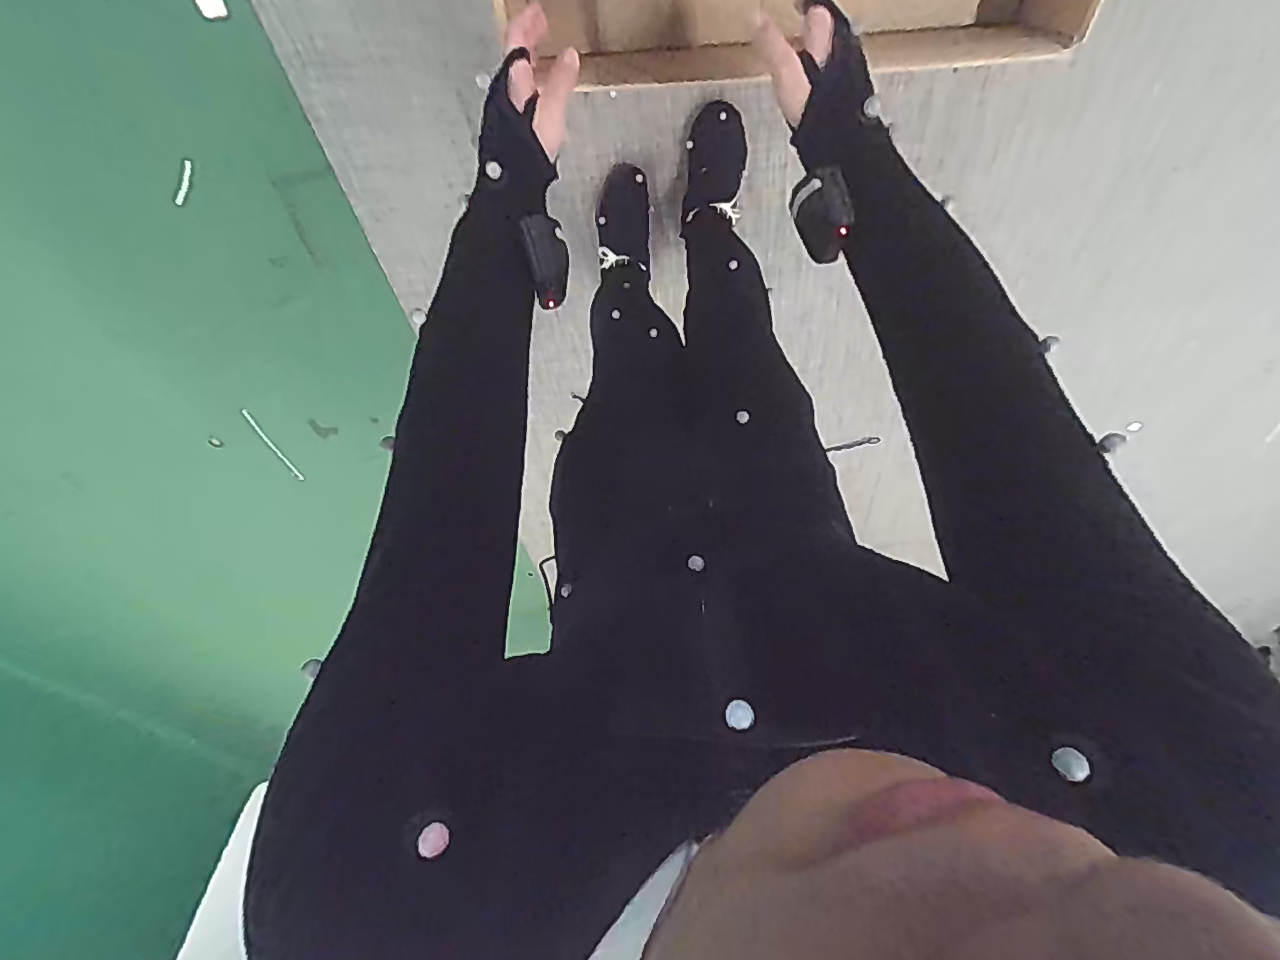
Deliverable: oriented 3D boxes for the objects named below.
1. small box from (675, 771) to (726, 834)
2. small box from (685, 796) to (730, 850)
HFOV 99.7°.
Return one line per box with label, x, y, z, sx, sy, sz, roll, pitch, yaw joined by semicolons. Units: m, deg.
small box;0.219;1.162;1.945;0.168;0.176;0.179;-7;137;9
small box;0.269;1.374;2.176;0.168;0.176;0.179;-7;136;7
